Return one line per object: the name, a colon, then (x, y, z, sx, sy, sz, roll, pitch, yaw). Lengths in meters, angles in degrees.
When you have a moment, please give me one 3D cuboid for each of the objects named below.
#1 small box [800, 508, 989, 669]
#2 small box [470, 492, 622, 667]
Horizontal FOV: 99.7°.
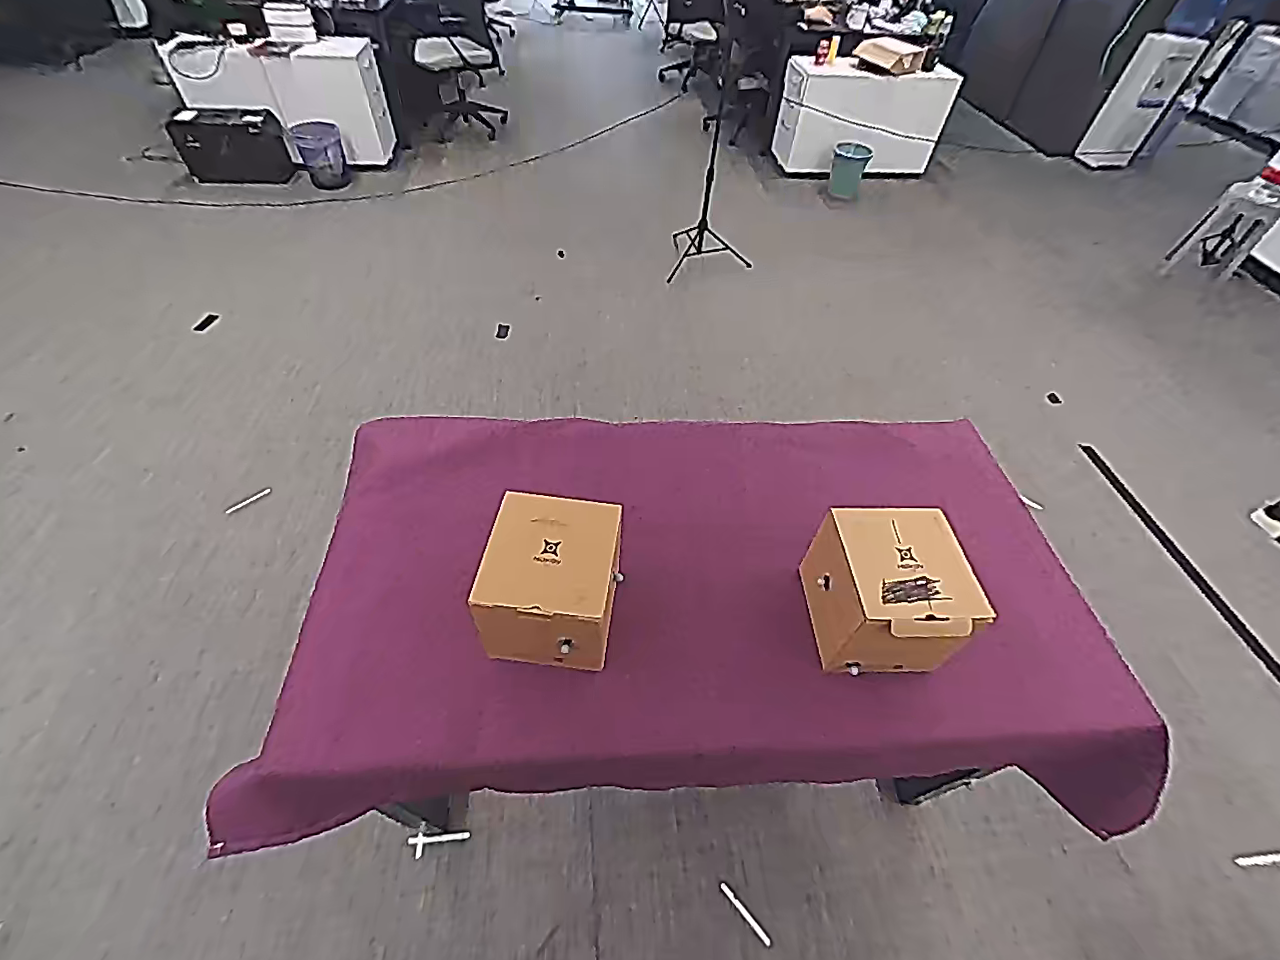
small box: (0.345, 0.159, 0.775, 0.168, 0.176, 0.179, 1, 49, -3)
small box: (-0.119, 0.143, 0.759, 0.168, 0.176, 0.179, 8, 50, 1)
